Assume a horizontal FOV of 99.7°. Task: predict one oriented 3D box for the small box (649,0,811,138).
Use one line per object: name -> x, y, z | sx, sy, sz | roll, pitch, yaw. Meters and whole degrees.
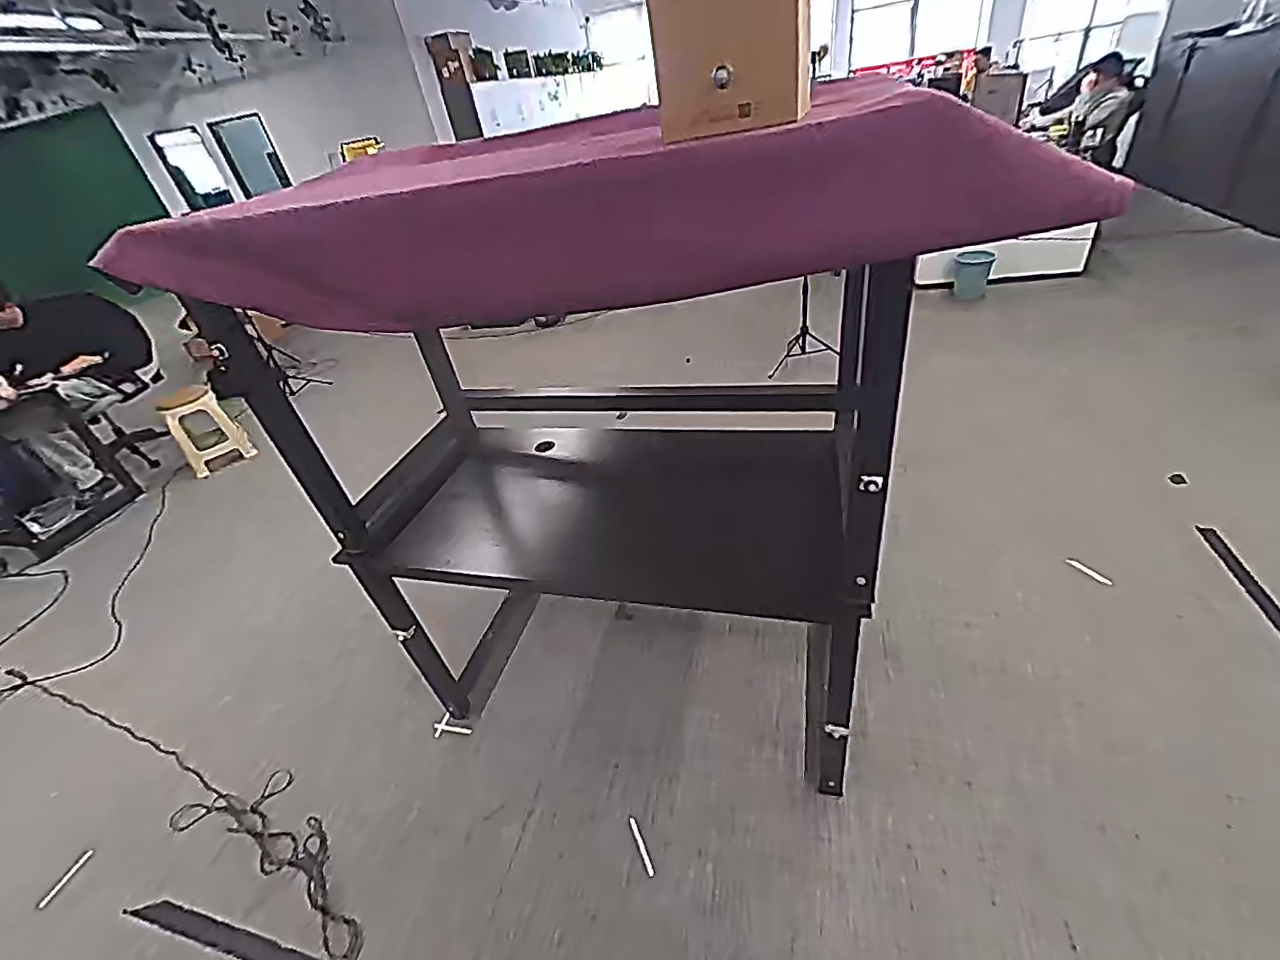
small box -> 0.115, -0.528, 0.656 | 0.168, 0.176, 0.179 | 3, 37, 20
